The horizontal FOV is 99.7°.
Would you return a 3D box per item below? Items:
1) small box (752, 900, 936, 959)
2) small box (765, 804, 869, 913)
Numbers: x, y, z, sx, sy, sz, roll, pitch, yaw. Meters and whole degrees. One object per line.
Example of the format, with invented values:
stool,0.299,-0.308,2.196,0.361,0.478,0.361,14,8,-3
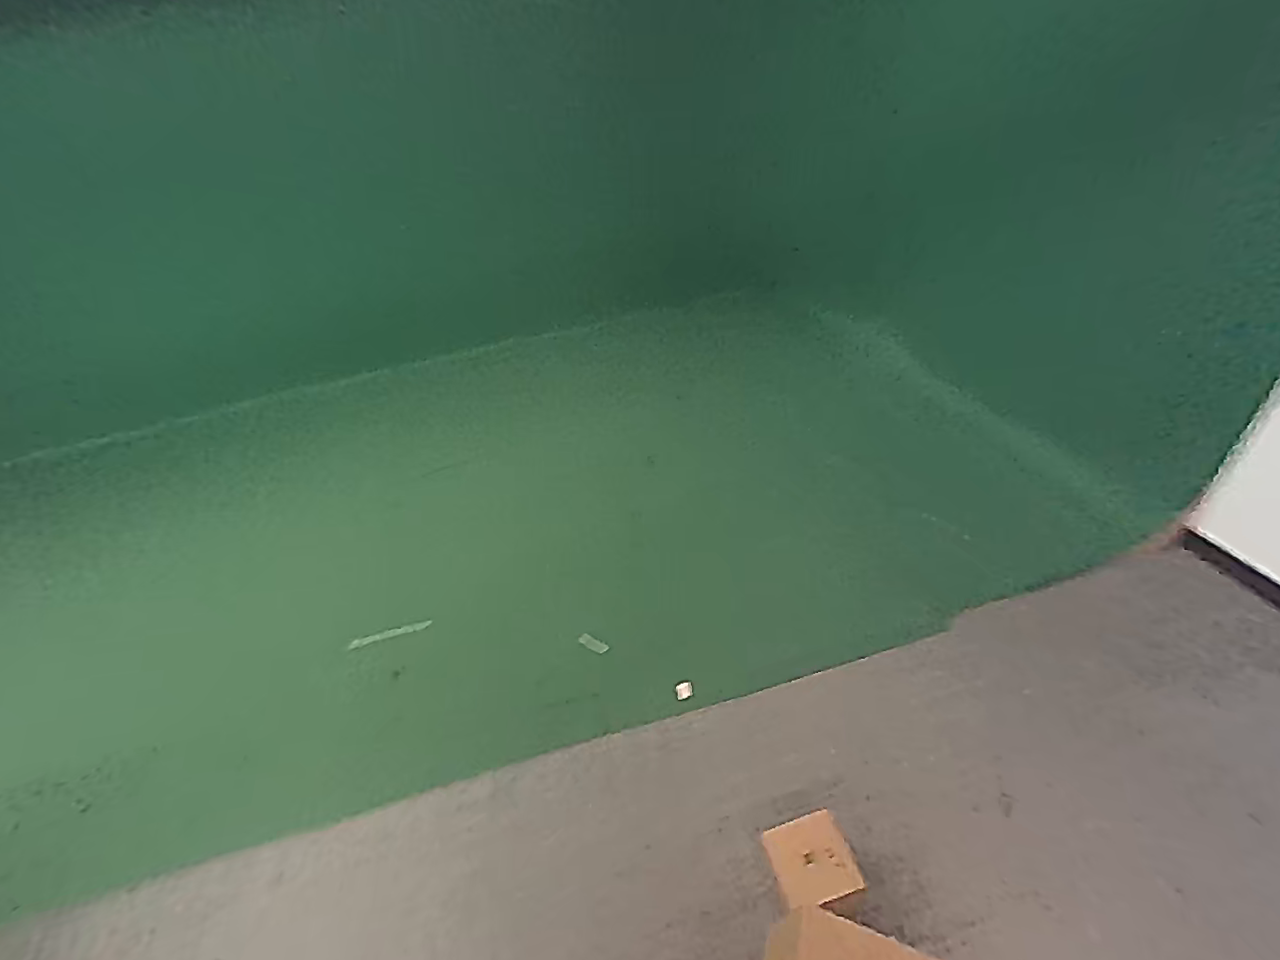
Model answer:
small box,0.197,0.536,0.506,0.179,0.176,0.168,15,45,12
small box,0.409,0.905,1.270,0.179,0.176,0.168,-16,40,-6
